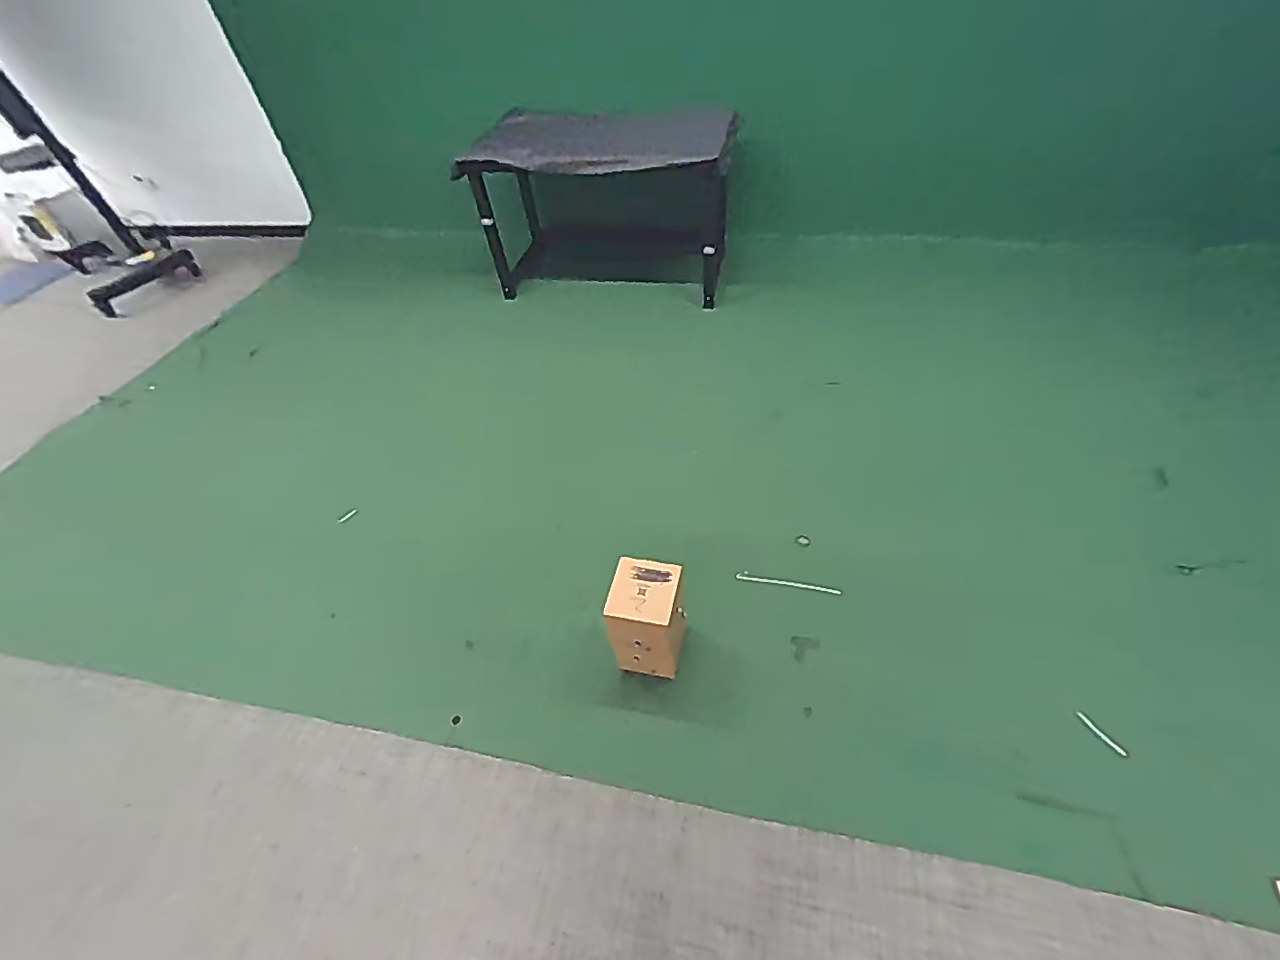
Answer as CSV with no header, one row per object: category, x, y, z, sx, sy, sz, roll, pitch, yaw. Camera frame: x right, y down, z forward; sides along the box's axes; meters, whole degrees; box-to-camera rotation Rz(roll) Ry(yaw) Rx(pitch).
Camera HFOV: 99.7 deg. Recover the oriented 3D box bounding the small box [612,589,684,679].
small box,0.031,0.437,1.521,0.168,0.176,0.179,6,48,13
